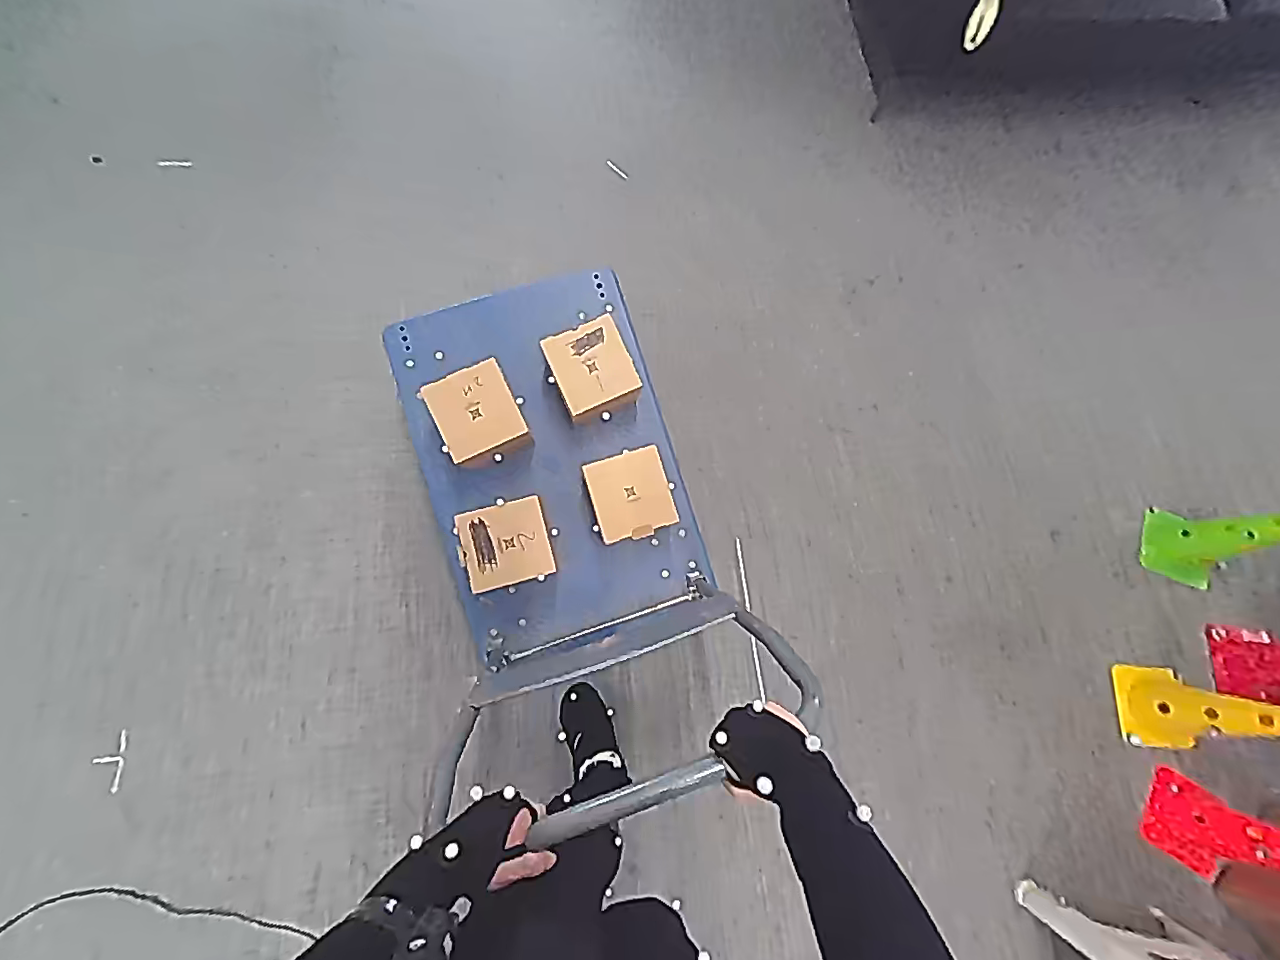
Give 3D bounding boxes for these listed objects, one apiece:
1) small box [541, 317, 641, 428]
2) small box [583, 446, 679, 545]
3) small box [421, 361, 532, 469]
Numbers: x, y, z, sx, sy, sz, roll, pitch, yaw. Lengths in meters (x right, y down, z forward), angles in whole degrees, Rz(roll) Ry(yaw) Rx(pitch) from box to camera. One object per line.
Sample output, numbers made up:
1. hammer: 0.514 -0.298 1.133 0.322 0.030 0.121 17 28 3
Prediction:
1. small box: -0.113 -0.236 1.227 0.168 0.176 0.179 -25 89 -7
2. small box: -0.028 0.038 1.215 0.168 0.176 0.179 -18 88 -7
3. small box: -0.350 -0.133 1.193 0.168 0.176 0.179 -25 88 -8
